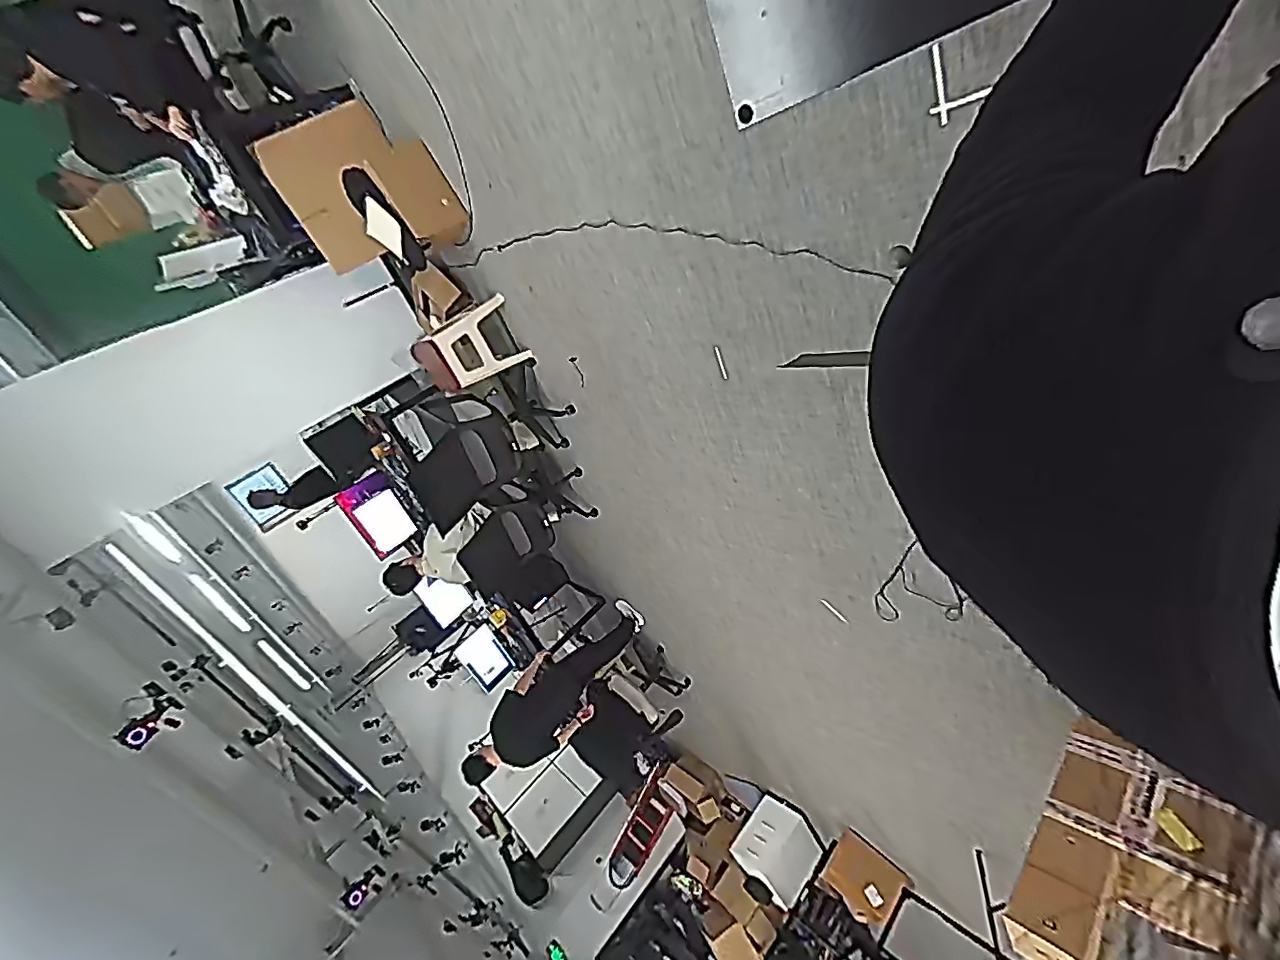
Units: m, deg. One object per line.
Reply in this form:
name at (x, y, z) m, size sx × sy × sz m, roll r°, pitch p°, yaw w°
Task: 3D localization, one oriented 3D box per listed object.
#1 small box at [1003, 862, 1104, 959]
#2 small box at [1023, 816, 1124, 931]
small box at (1.116, 1.186, 1.453) m, size 0.179 × 0.176 × 0.168 m, roll 3°, pitch 123°, yaw 54°
small box at (1.234, 1.104, 1.537) m, size 0.179 × 0.176 × 0.168 m, roll 3°, pitch 124°, yaw 55°
